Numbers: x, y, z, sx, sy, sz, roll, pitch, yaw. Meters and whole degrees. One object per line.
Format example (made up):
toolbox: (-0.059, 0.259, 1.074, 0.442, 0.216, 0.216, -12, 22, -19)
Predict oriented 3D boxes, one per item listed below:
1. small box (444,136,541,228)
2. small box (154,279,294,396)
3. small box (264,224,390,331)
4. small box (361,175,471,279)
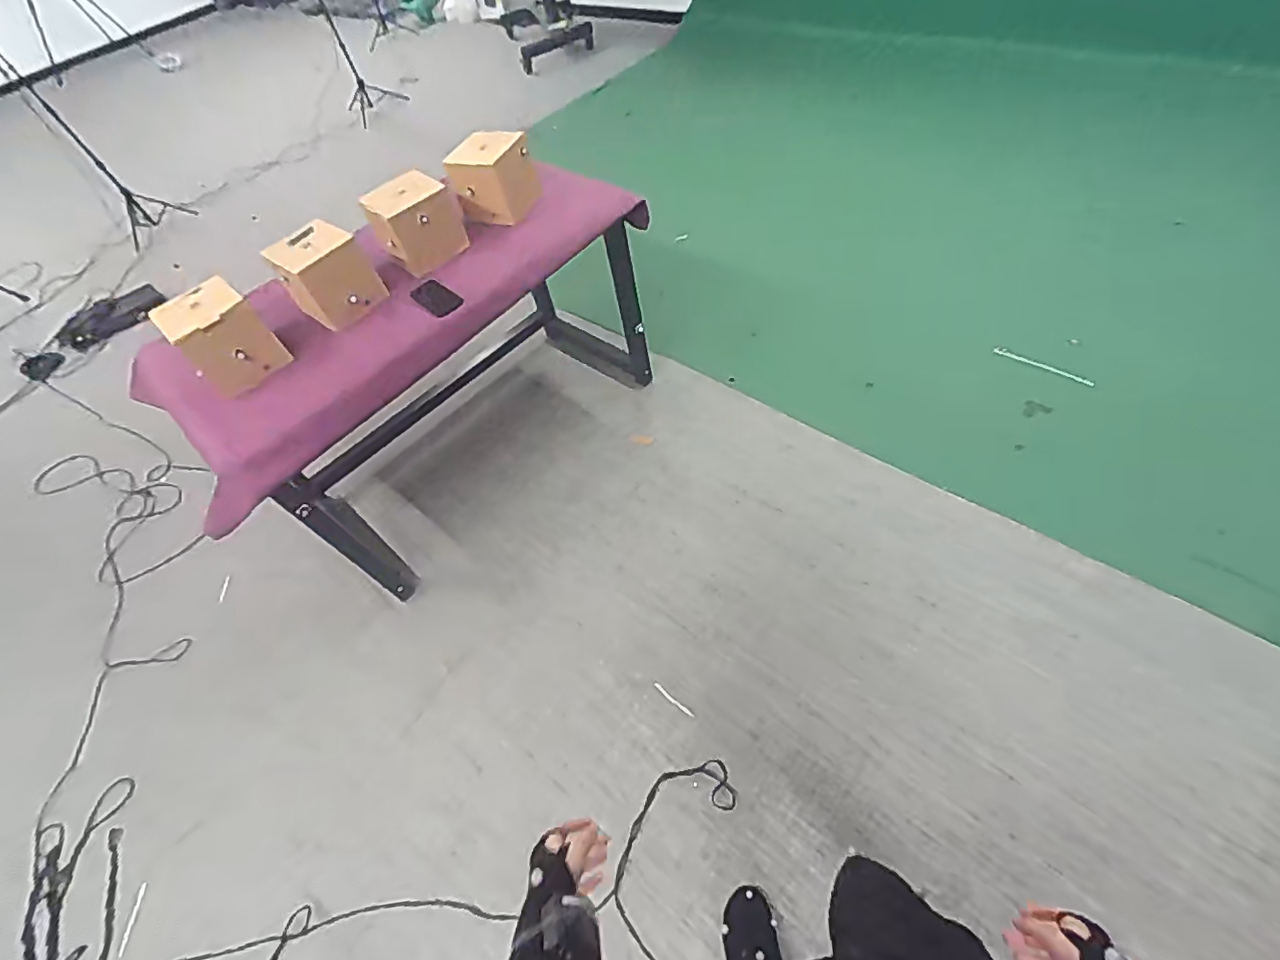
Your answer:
small box: (-0.399, -0.824, 1.500, 0.168, 0.176, 0.179, 13, 58, 20)
small box: (-0.942, -0.319, 1.238, 0.179, 0.176, 0.168, 36, 67, 29)
small box: (-0.761, -0.495, 1.331, 0.179, 0.176, 0.168, 30, 65, 26)
small box: (-0.579, -0.659, 1.416, 0.179, 0.176, 0.168, -41, 59, -18)
